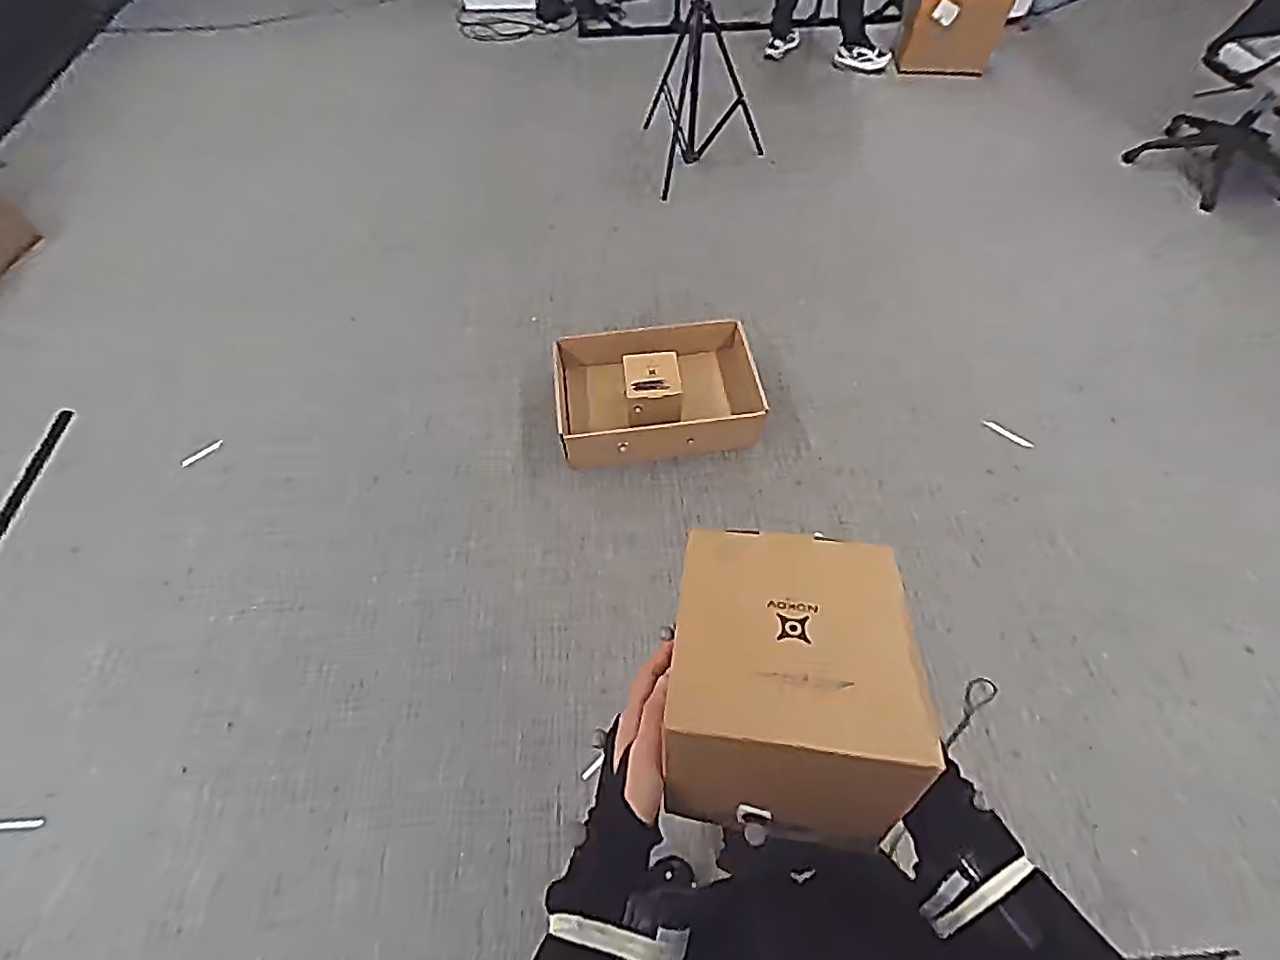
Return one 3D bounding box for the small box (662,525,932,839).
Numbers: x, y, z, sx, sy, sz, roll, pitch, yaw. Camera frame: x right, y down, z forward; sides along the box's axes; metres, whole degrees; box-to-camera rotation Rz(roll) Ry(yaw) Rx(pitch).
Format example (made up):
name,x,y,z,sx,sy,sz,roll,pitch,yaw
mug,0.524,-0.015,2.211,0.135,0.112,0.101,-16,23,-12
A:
name,x,y,z,sx,sy,sz,roll,pitch,yaw
small box,0.109,0.161,0.445,0.168,0.176,0.179,4,43,8
